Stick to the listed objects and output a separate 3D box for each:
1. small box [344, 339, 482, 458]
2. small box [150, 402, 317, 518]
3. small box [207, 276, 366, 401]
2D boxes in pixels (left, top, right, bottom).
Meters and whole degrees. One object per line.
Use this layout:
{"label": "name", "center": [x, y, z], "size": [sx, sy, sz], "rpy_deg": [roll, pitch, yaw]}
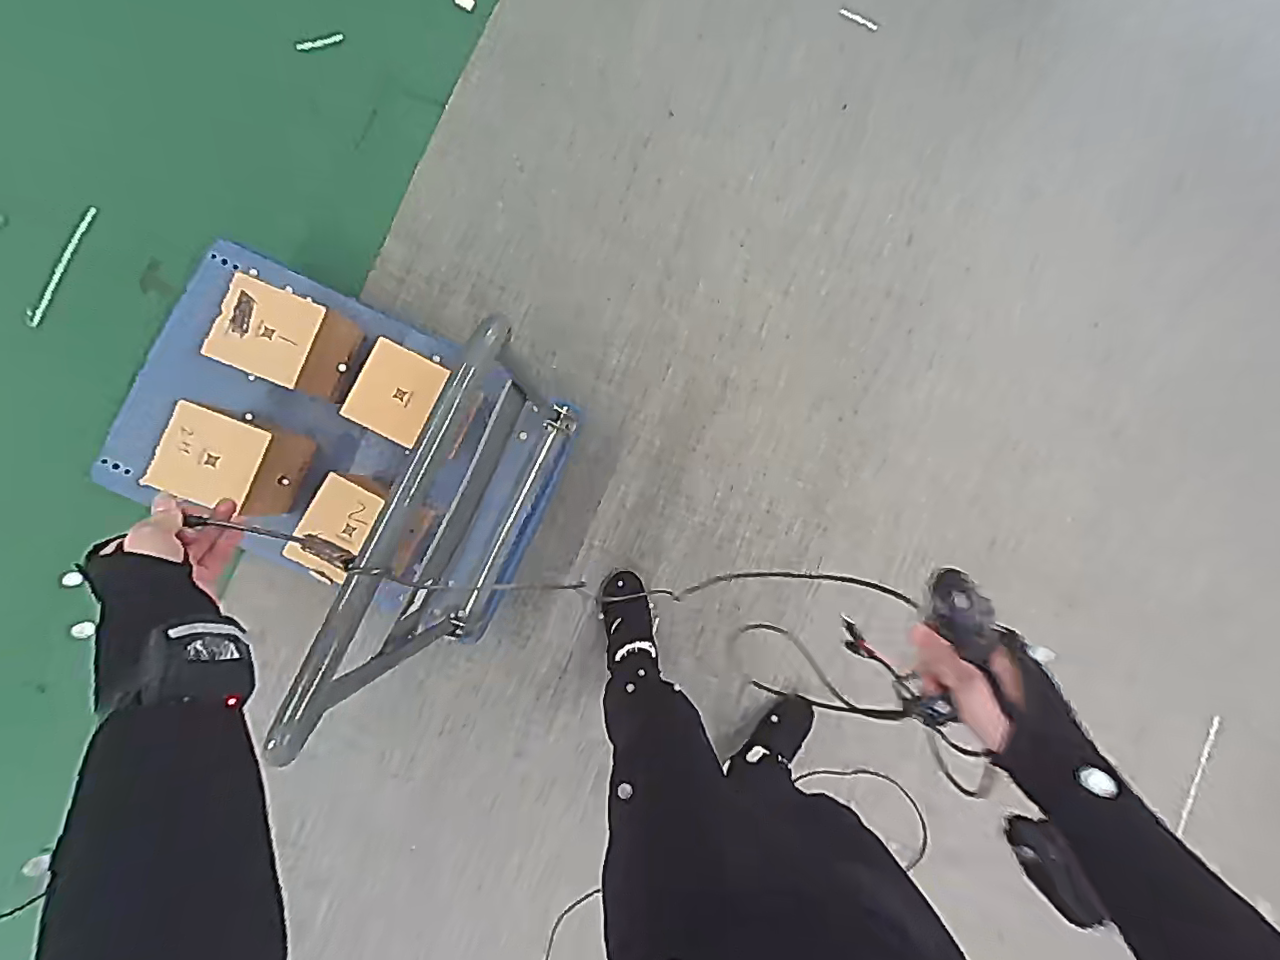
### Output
{"label": "small box", "center": [-0.445, -0.152, 1.091], "size": [0.179, 0.176, 0.168], "rpy_deg": [27, 87, -4]}
{"label": "small box", "center": [-0.780, -0.035, 1.062], "size": [0.179, 0.176, 0.168], "rpy_deg": [22, 86, -3]}
{"label": "small box", "center": [-0.688, -0.269, 1.074], "size": [0.179, 0.176, 0.168], "rpy_deg": [22, 88, -4]}
